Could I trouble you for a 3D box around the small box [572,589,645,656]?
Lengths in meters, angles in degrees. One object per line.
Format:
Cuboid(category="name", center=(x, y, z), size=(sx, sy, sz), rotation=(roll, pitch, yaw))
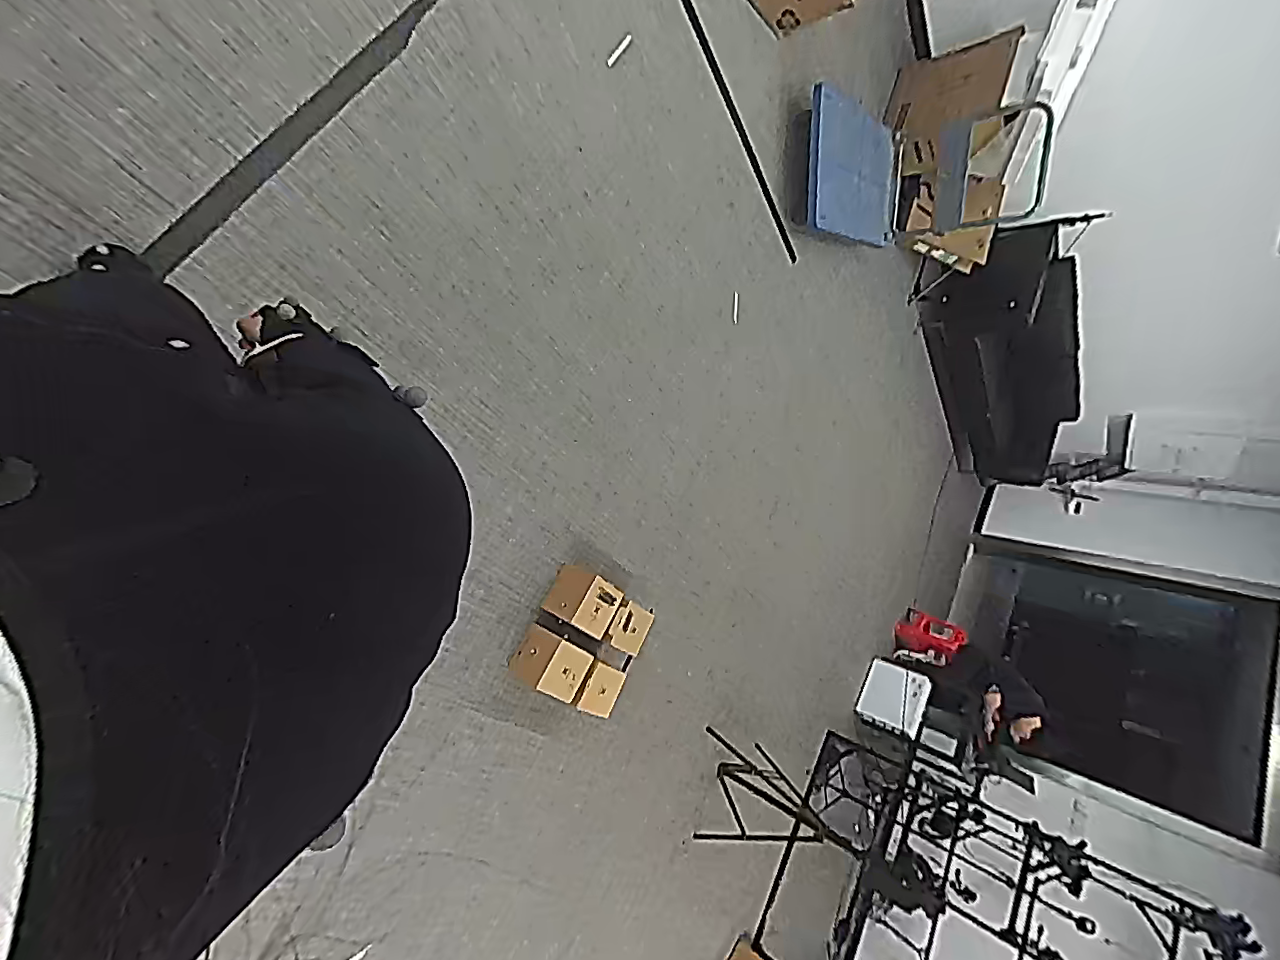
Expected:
Cuboid(category="small box", center=(-0.118, 0.517, 1.982), size=(0.179, 0.176, 0.168), rotation=(46, 66, -45))
